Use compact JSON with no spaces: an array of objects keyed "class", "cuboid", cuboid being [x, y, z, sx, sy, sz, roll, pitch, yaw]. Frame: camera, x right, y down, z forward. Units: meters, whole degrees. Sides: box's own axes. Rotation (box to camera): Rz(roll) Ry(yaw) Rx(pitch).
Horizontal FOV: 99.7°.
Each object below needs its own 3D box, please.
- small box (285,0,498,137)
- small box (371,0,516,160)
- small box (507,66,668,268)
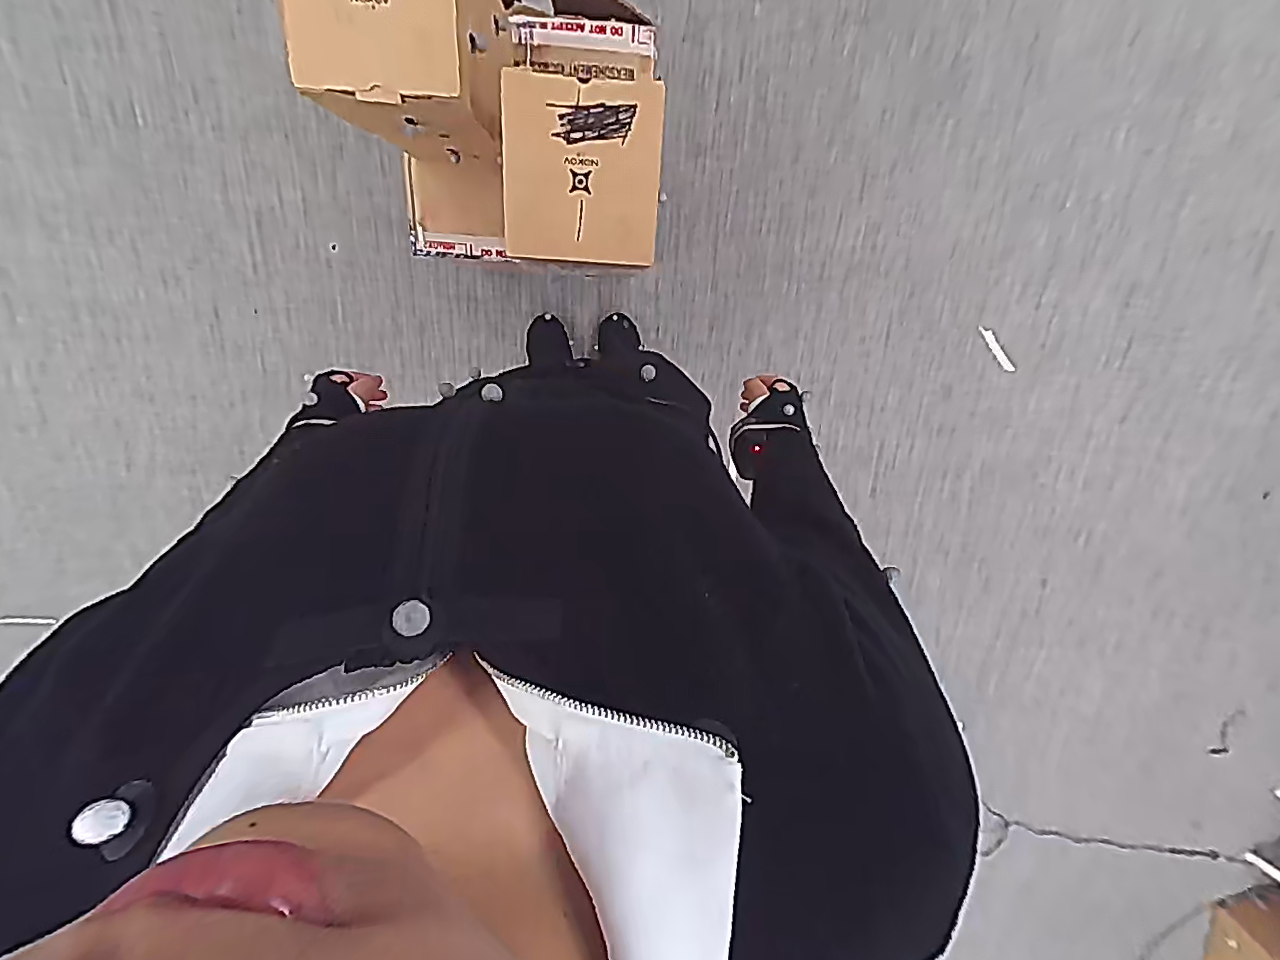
[{"class":"small box","cuboid":[-0.254,-0.490,0.584,0.168,0.176,0.179,2,111,-2]},{"class":"small box","cuboid":[-0.264,-0.555,0.736,0.168,0.176,0.179,1,110,-2]},{"class":"small box","cuboid":[-0.063,-0.353,0.645,0.168,0.176,0.179,3,111,-3]}]
